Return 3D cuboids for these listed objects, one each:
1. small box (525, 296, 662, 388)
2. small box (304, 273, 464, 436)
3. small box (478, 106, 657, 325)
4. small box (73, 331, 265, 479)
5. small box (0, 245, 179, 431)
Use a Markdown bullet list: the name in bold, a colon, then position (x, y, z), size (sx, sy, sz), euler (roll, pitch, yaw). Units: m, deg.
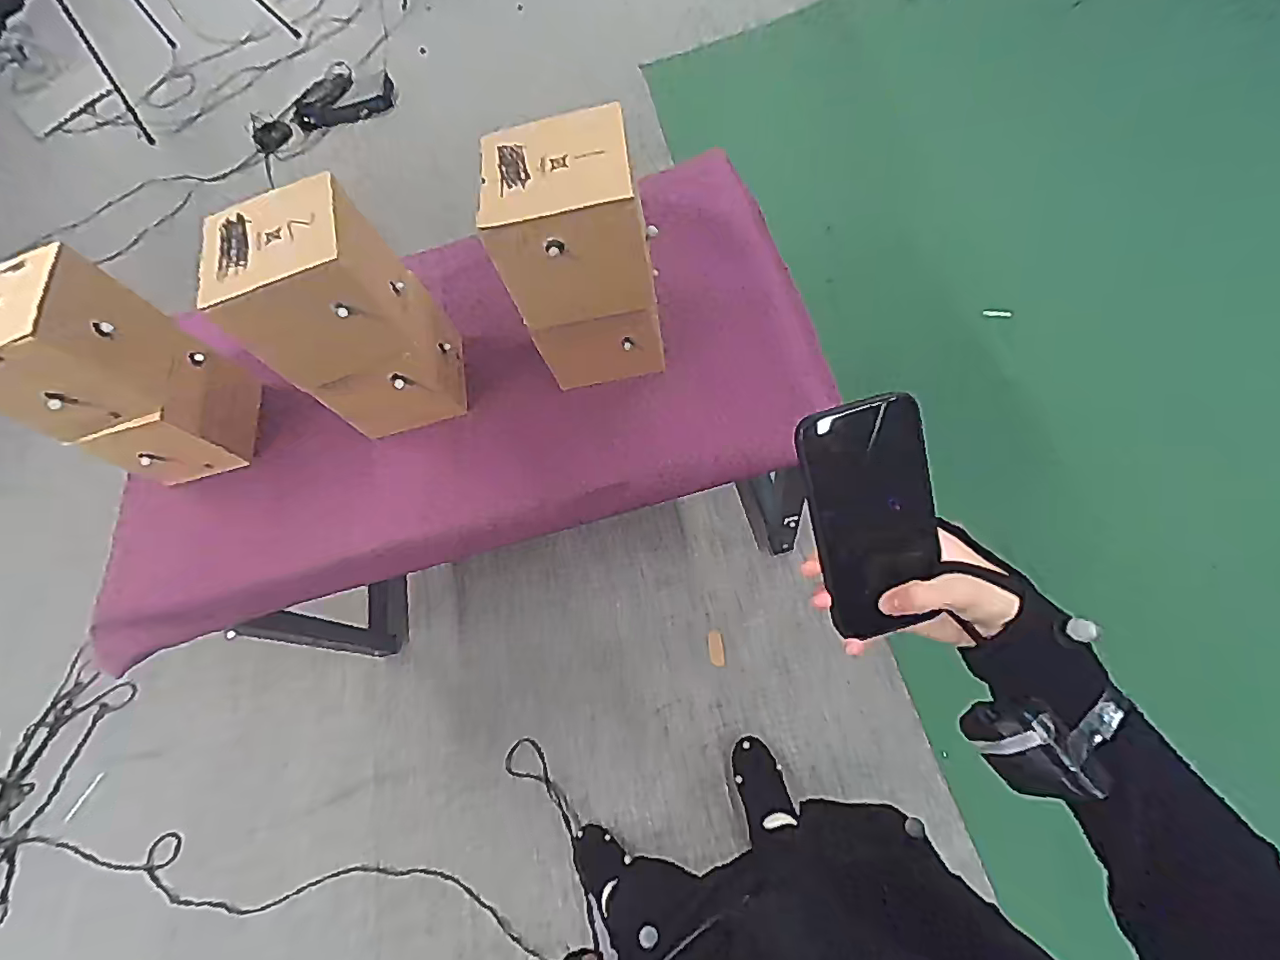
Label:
- **small box**: position (-0.064, -0.265, 0.836), size (0.179, 0.176, 0.168), euler (-9, 65, 8)
- **small box**: position (-0.396, -0.193, 0.869), size (0.179, 0.176, 0.168), euler (-14, 64, 5)
- **small box**: position (-0.083, -0.319, 0.681), size (0.179, 0.176, 0.168), euler (-9, 65, 7)
- **small box**: position (-0.776, -0.114, 0.913), size (0.168, 0.176, 0.179), euler (-14, 64, 5)
- **small box**: position (-0.808, -0.188, 0.769), size (0.168, 0.176, 0.179), euler (-18, 65, 2)
